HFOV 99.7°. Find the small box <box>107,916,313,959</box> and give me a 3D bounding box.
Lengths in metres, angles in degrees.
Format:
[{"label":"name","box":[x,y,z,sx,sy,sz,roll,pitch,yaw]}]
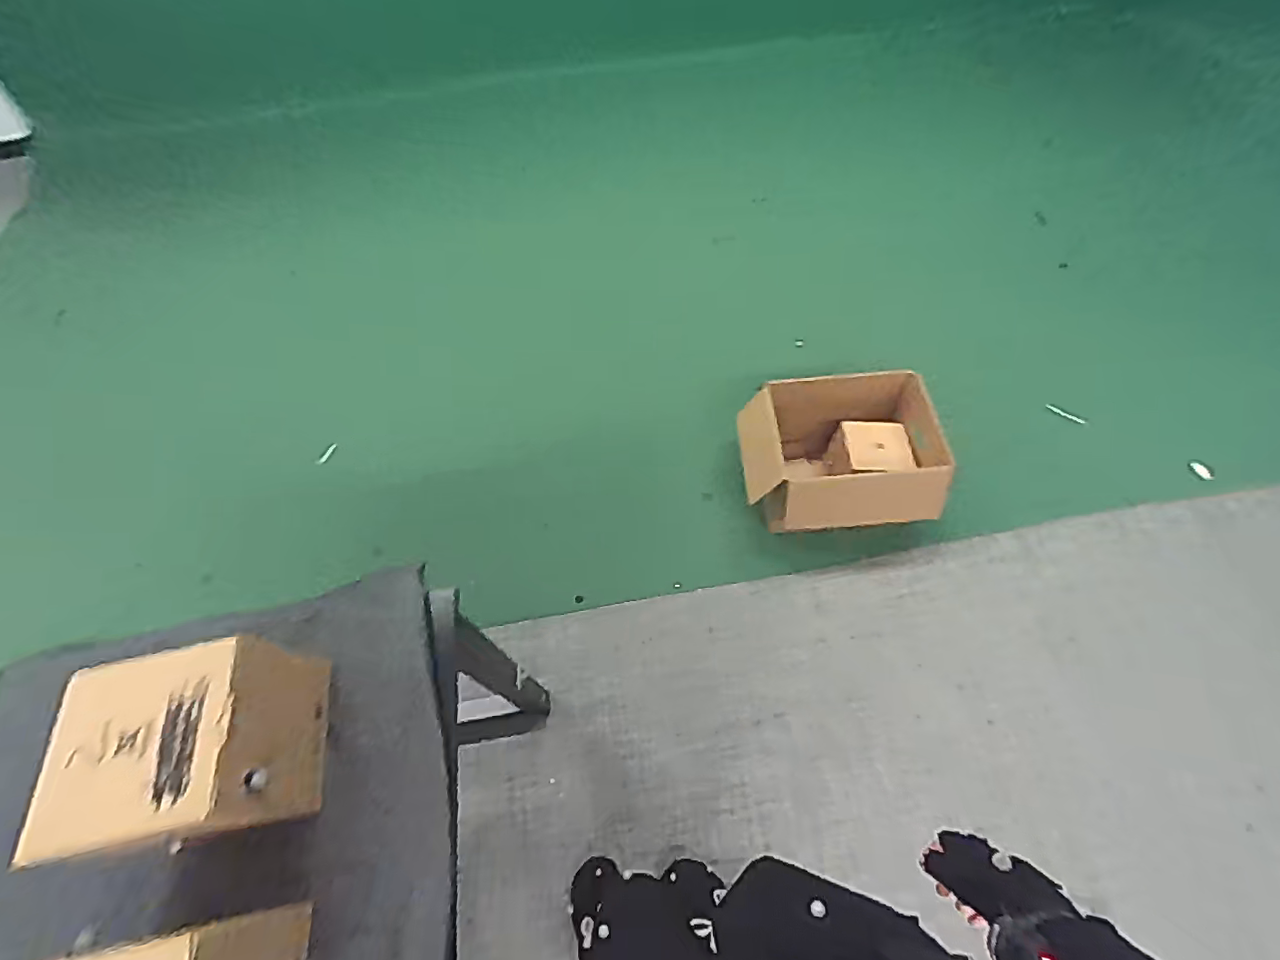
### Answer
[{"label":"small box","box":[-0.419,0.499,0.456,0.179,0.176,0.168,-11,60,-3]}]
